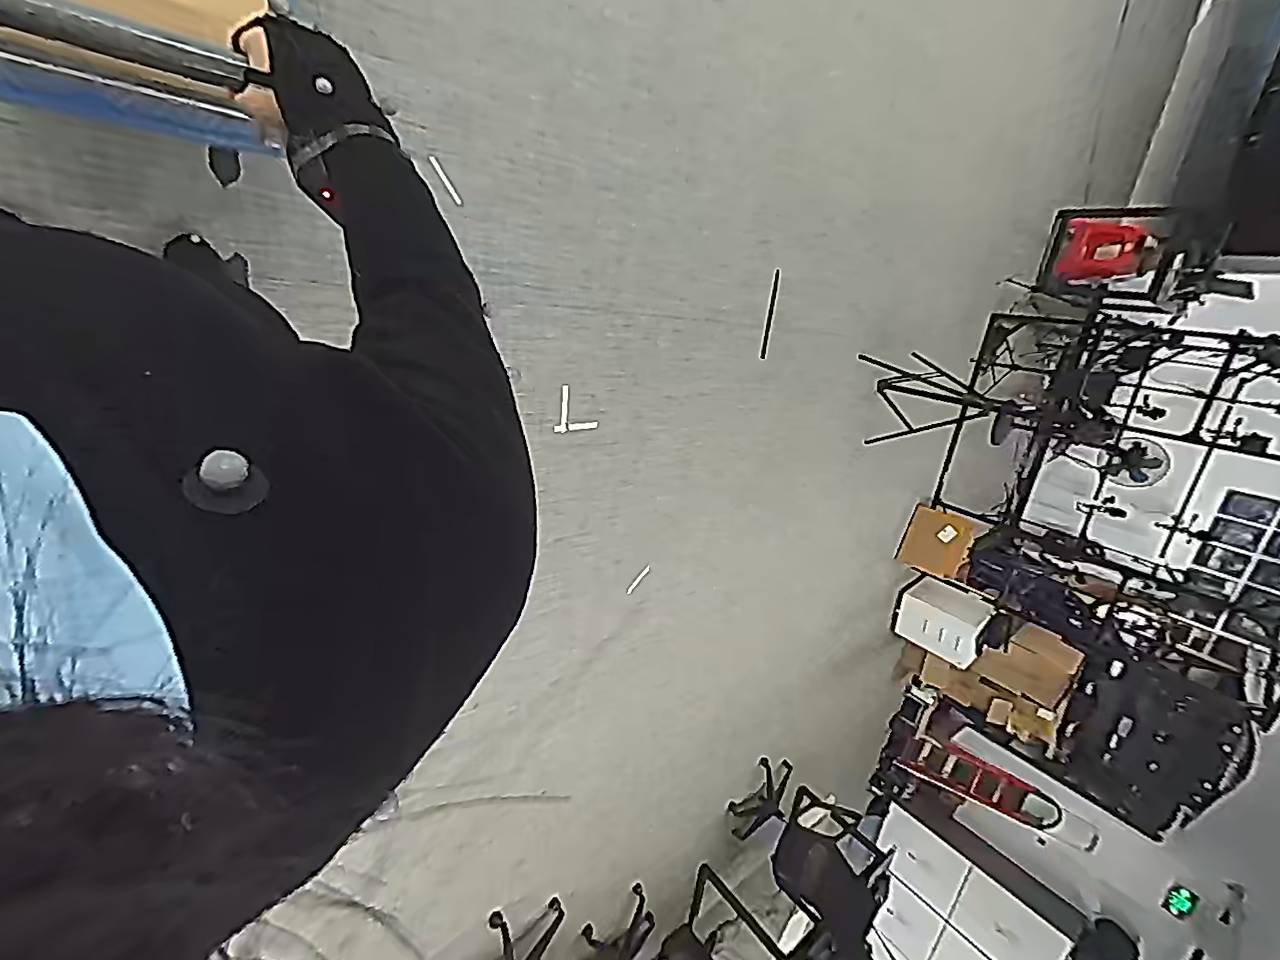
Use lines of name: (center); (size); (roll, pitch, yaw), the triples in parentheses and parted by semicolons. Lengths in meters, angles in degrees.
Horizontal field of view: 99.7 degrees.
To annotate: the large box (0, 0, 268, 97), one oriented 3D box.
large box: (-0.750, -0.743, 0.680); (0.408, 0.320, 0.320); (-10, 116, -41)
